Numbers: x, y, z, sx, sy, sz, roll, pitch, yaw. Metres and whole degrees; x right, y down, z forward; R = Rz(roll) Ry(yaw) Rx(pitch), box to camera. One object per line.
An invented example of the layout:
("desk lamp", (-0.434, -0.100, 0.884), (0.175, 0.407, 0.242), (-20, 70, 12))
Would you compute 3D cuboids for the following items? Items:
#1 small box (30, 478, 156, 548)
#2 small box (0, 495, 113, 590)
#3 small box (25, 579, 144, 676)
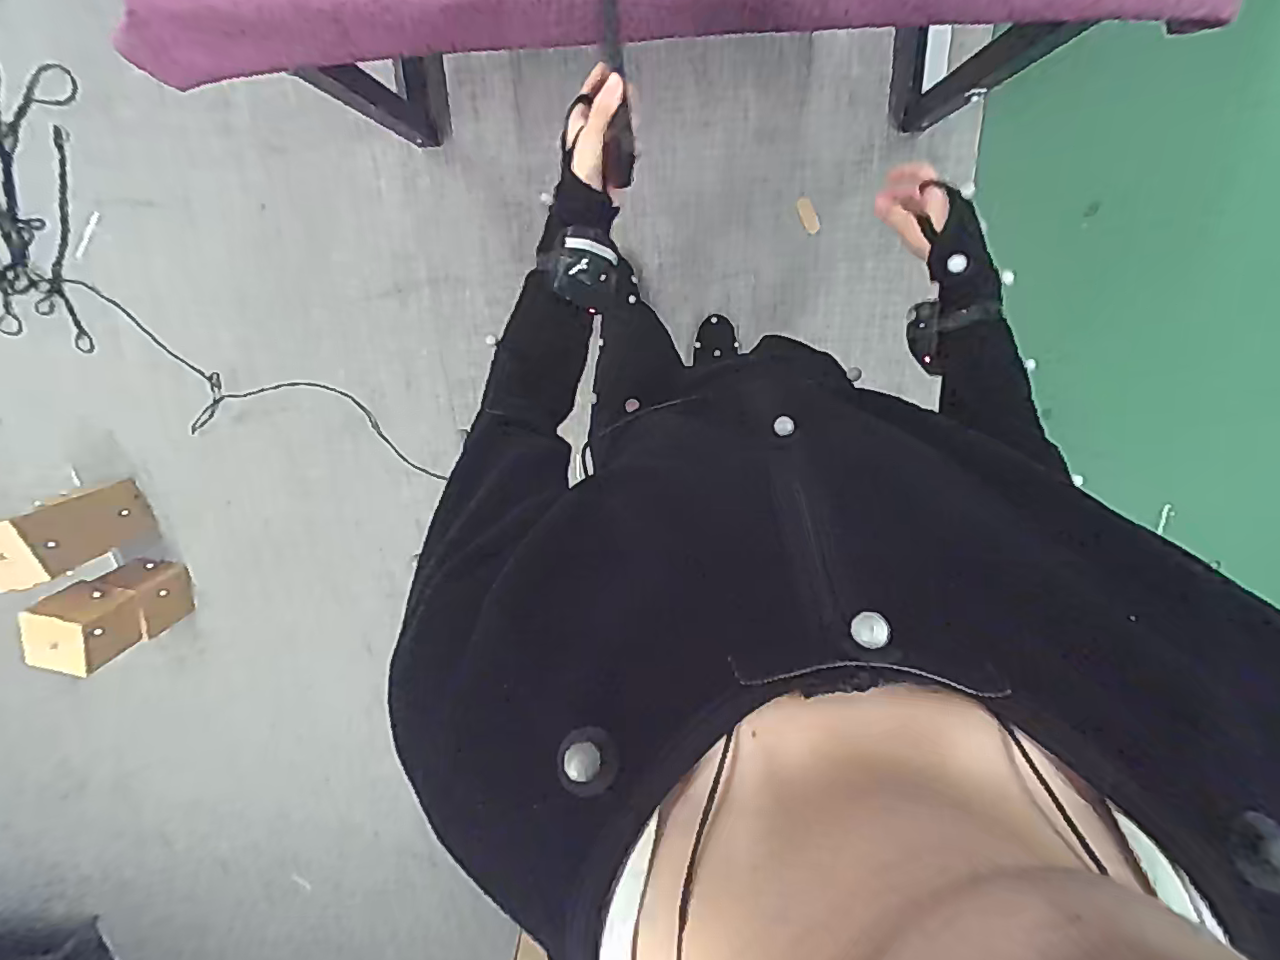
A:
("small box", (-1.574, 0.102, 1.576), (0.179, 0.176, 0.168), (-9, 109, 6))
("small box", (-1.568, 0.161, 1.424), (0.168, 0.176, 0.179), (-13, 108, 6))
("small box", (-1.540, 0.407, 1.511), (0.168, 0.176, 0.179), (14, 108, -2))
